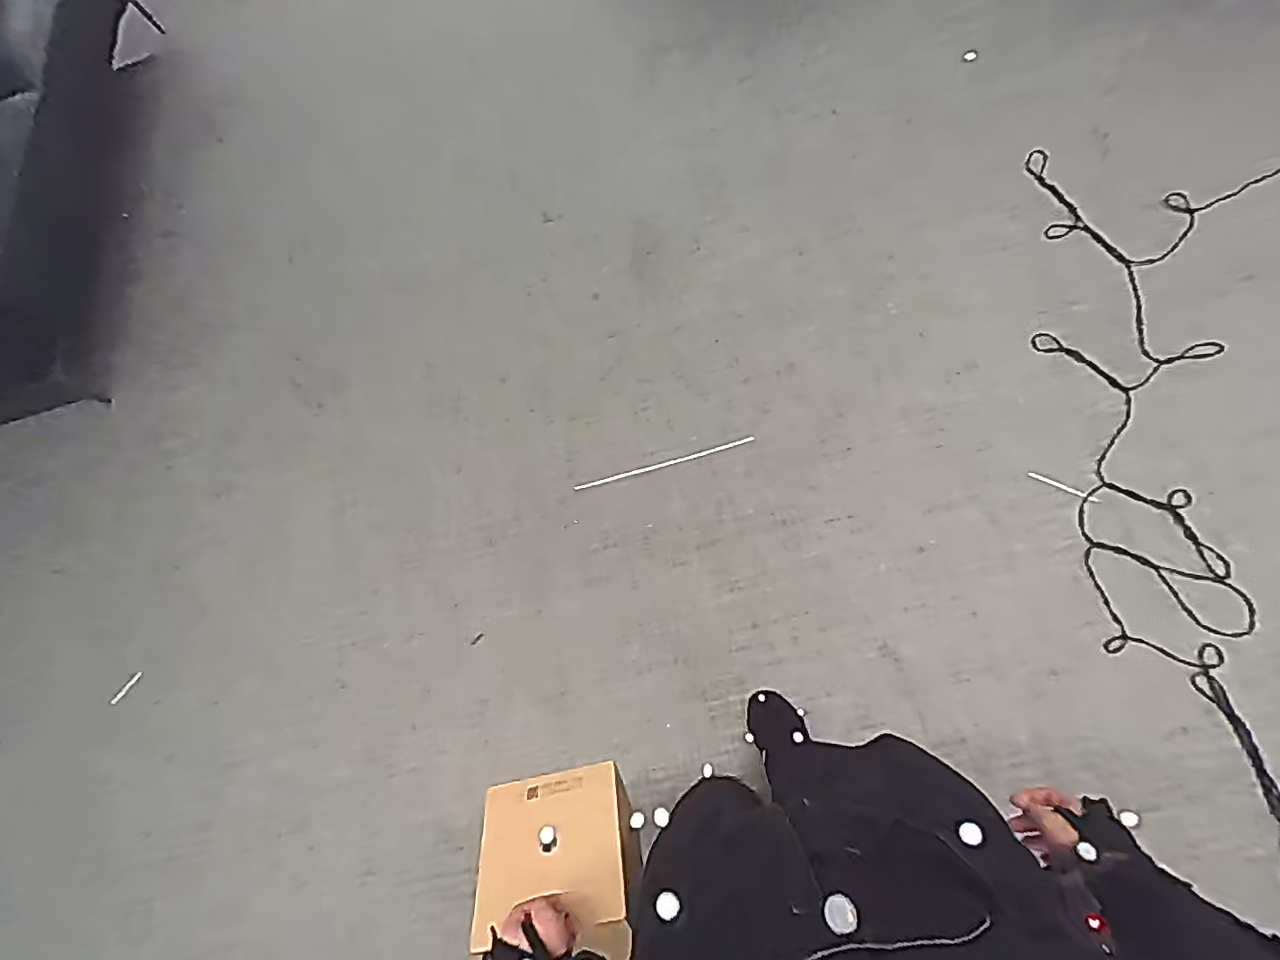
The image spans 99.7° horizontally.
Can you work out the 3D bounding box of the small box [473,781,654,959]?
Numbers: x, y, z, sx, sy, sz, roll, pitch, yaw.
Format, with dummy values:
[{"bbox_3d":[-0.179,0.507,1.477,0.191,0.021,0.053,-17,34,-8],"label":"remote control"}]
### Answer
[{"bbox_3d":[-0.086,0.490,0.654,0.168,0.179,0.176,-13,33,0],"label":"small box"}]
